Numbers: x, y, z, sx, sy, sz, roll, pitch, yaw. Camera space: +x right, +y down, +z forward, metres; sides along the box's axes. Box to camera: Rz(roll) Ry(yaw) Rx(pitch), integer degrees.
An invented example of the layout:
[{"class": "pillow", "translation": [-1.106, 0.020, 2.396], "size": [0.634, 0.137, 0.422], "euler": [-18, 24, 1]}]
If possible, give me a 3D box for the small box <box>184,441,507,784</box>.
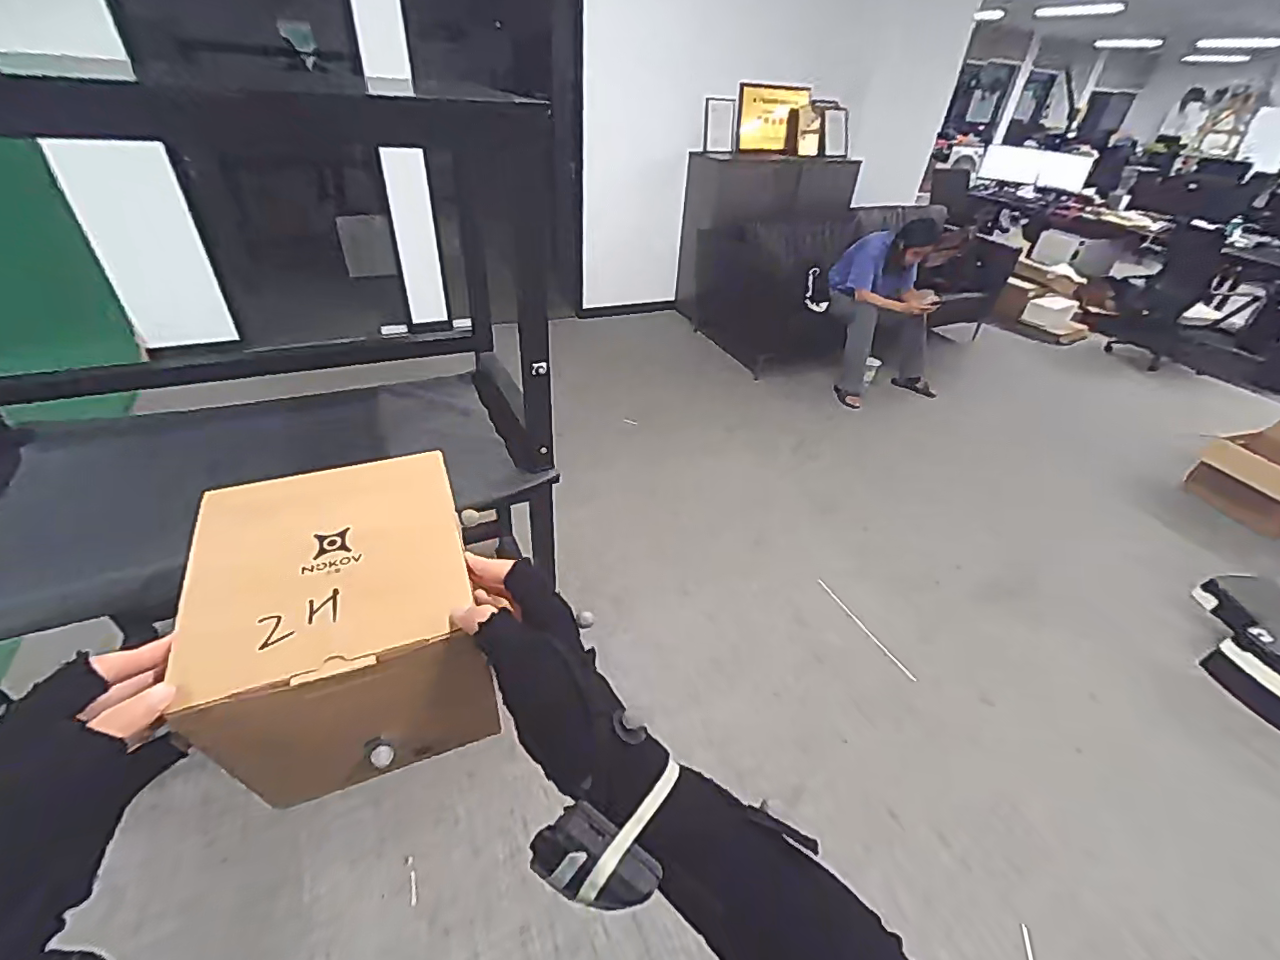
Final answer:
[{"class": "small box", "translation": [-0.207, 0.097, 0.424], "size": [0.168, 0.176, 0.179], "euler": [-13, 46, -19]}]
